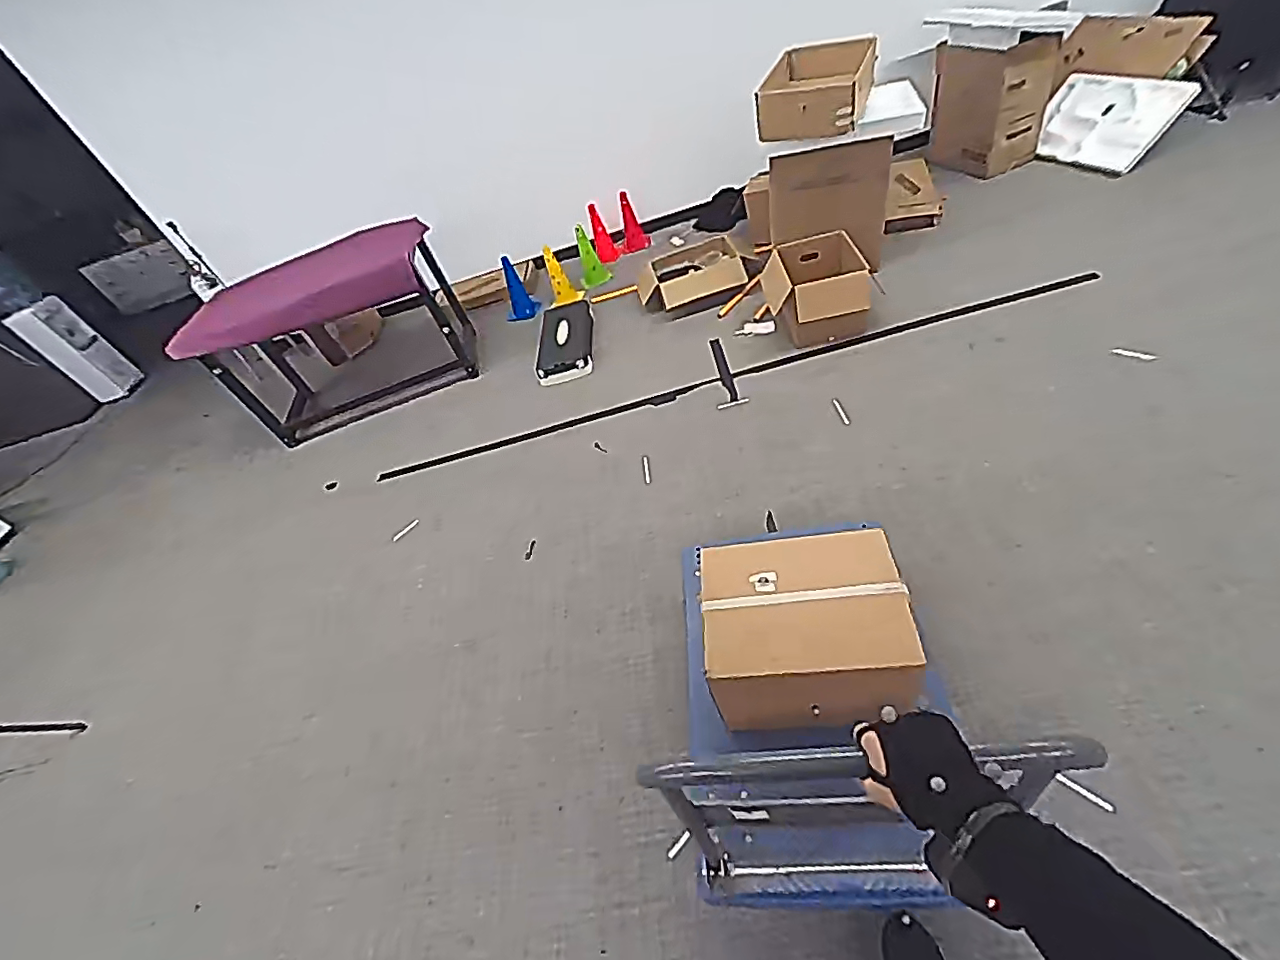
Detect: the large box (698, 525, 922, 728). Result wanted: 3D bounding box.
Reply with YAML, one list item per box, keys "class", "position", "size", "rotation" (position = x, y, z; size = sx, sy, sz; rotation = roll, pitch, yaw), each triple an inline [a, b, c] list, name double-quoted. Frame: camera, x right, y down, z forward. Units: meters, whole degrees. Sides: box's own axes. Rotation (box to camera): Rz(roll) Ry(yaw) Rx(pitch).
- class: "large box"
  position: [0.363, 0.339, 1.212]
  size: [0.408, 0.320, 0.320]
  rotation: [-10, 44, 13]
